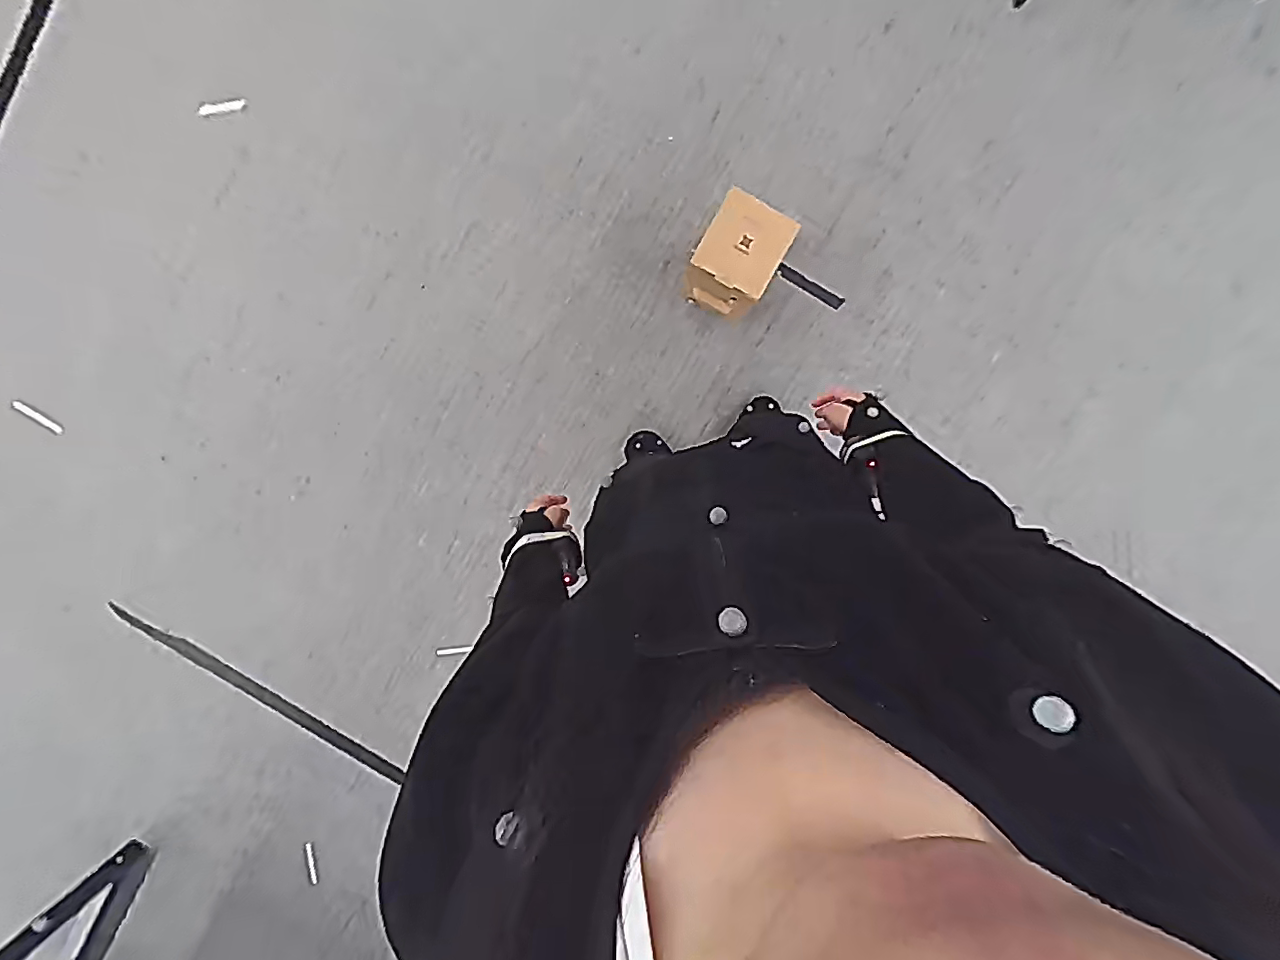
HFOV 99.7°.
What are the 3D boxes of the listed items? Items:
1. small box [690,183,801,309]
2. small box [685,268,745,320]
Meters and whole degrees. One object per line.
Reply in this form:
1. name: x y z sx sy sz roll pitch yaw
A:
1. small box: 0.220 -0.498 1.184 0.168 0.176 0.179 29 97 -3
2. small box: 0.224 -0.520 1.345 0.168 0.176 0.179 30 97 -2
